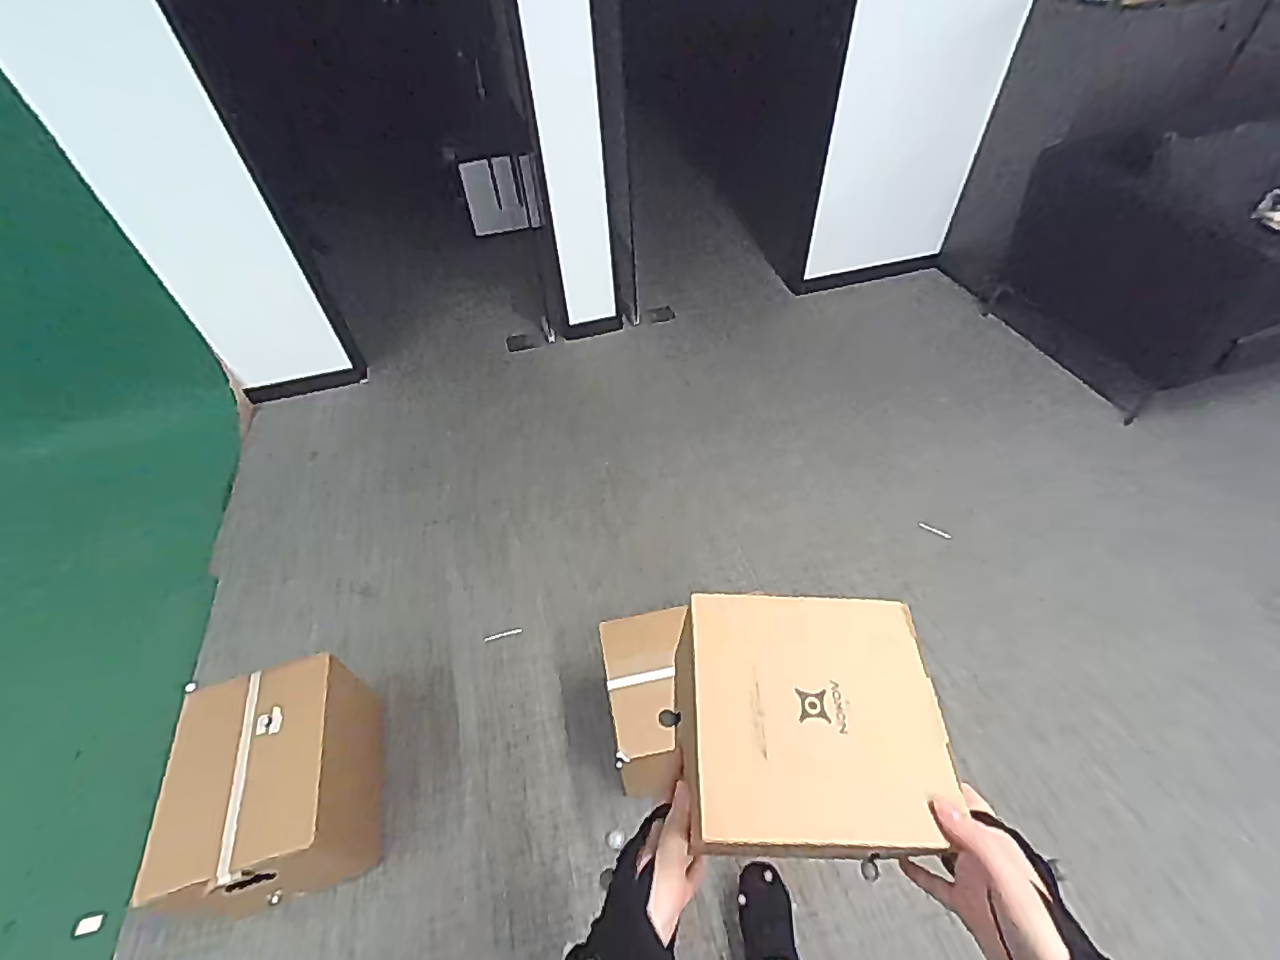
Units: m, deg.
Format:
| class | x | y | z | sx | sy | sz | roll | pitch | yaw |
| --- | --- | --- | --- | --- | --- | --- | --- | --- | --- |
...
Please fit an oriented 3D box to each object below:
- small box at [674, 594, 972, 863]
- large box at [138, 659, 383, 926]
| class | x | y | z | sx | sy | sz | roll | pitch | yaw |
| --- | --- | --- | --- | --- | --- | --- | --- | --- | --- |
| small box | 0.124 | 0.211 | 0.450 | 0.179 | 0.176 | 0.168 | 3 | 51 | 0 |
| large box | -0.796 | 0.694 | 1.217 | 0.320 | 0.320 | 0.408 | -15 | 48 | -9 |
